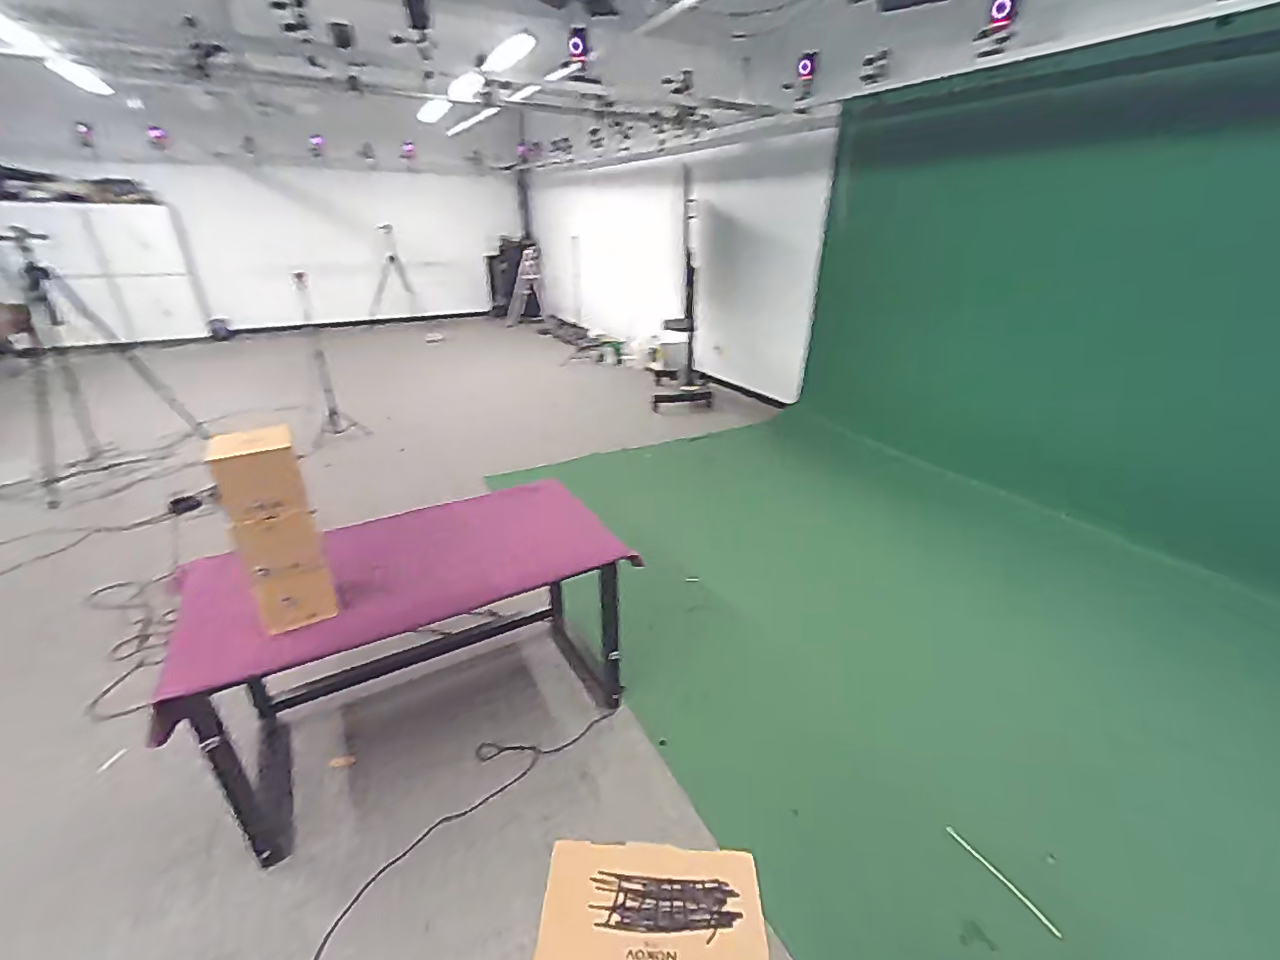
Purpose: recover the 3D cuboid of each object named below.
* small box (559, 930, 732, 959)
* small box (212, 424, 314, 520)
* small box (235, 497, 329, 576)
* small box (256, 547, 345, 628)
[{"bbox_3d":[-0.003,0.551,0.473,0.168,0.176,0.179,4,23,3],"label":"small box"},{"bbox_3d":[-0.914,-0.022,1.324,0.168,0.176,0.179,-15,29,-28],"label":"small box"},{"bbox_3d":[-0.911,0.129,1.386,0.168,0.176,0.179,-15,28,-28],"label":"small box"},{"bbox_3d":[-0.912,0.277,1.458,0.168,0.176,0.179,-16,29,-29],"label":"small box"}]
